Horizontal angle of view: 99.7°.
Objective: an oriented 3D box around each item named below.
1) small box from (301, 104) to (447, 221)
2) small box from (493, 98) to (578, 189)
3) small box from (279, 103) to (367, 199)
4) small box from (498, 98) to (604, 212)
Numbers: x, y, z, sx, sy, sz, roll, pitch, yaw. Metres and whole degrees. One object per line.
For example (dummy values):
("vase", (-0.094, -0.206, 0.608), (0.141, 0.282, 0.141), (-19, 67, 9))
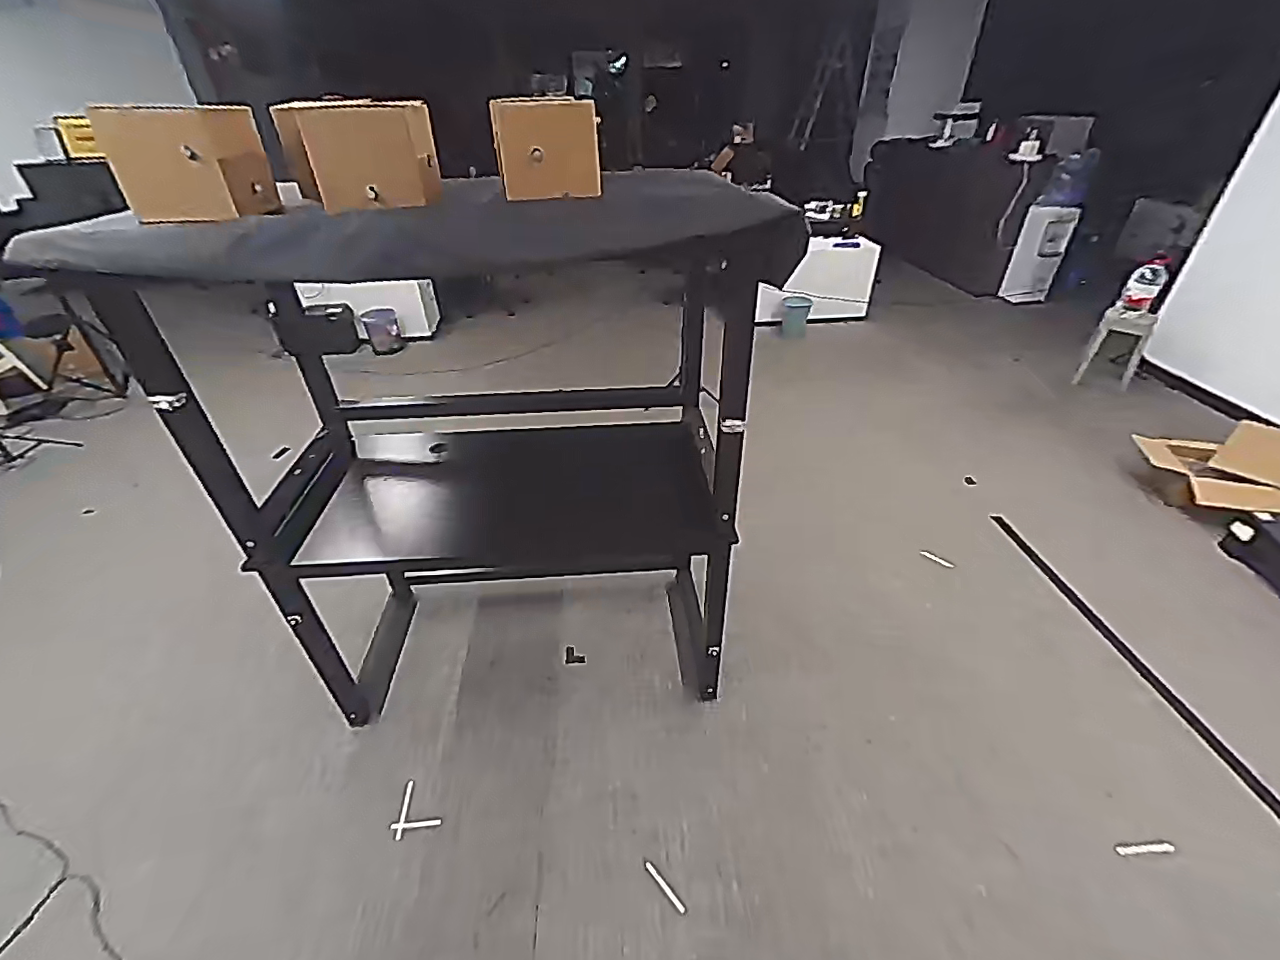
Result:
("small box", (-0.466, -0.579, 0.984), (0.179, 0.176, 0.168), (-3, 35, -4))
("small box", (-0.221, -0.765, 1.231), (0.179, 0.176, 0.168), (-3, 37, -2))
("small box", (-0.651, -0.727, 1.194), (0.168, 0.176, 0.179), (-8, 37, -7))
("small box", (-0.157, -0.600, 1.003), (0.168, 0.176, 0.179), (-5, 35, -4))
